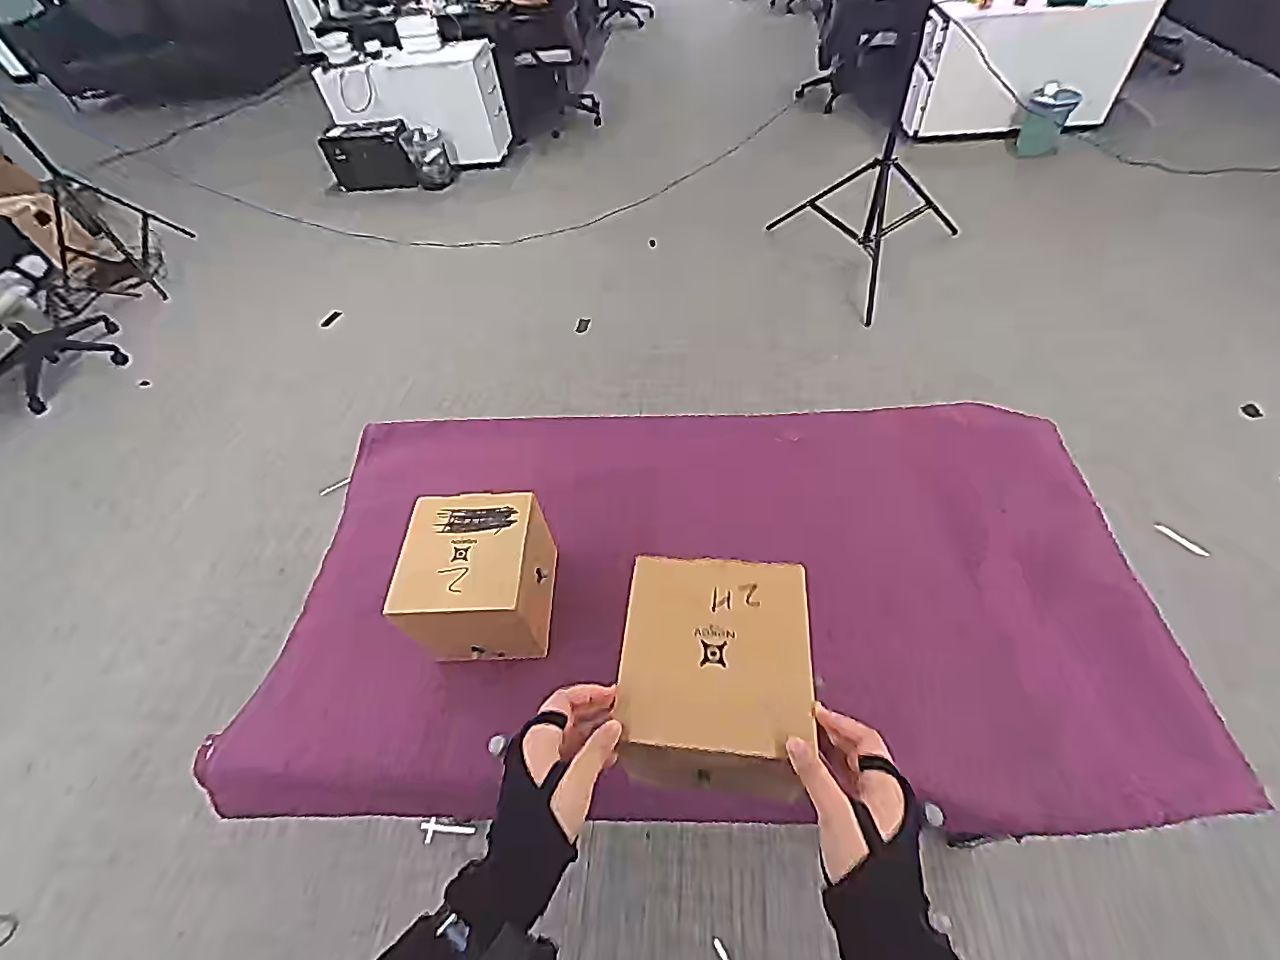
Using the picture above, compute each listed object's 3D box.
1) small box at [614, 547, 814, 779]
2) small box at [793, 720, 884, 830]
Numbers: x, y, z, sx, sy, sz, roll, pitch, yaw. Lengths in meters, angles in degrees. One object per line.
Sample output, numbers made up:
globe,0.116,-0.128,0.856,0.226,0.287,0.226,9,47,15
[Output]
small box,0.077,0.189,0.549,0.168,0.176,0.179,2,52,9
small box,0.438,0.662,1.209,0.168,0.176,0.179,7,52,12
